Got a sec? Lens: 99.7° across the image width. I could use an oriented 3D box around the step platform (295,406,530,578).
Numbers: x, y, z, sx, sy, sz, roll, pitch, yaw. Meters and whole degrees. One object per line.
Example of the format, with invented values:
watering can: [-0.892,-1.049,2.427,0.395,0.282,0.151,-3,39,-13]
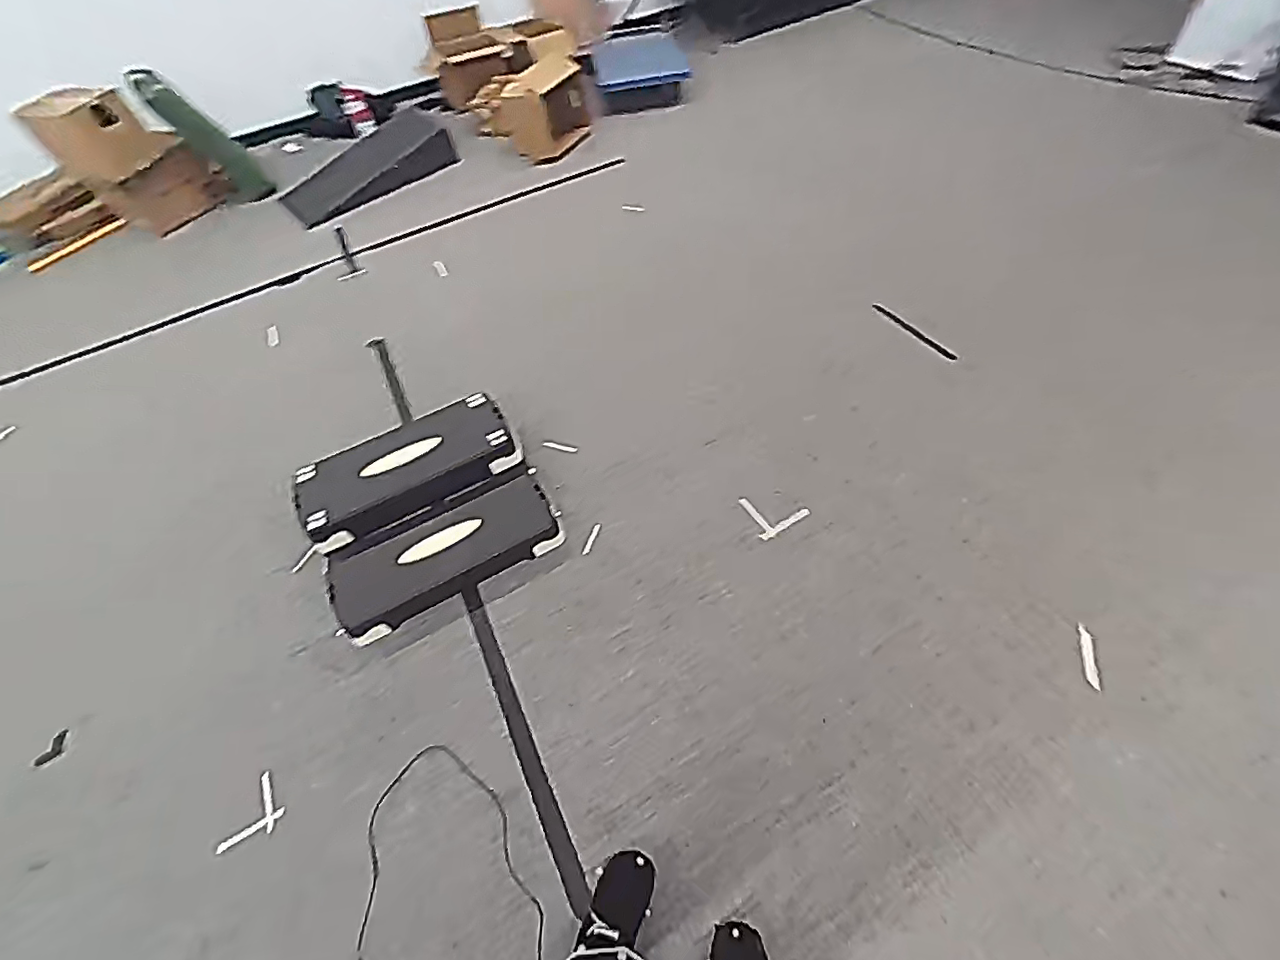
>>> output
step platform: [-0.719,0.023,1.735,0.684,0.204,0.286,-27,56,-14]
